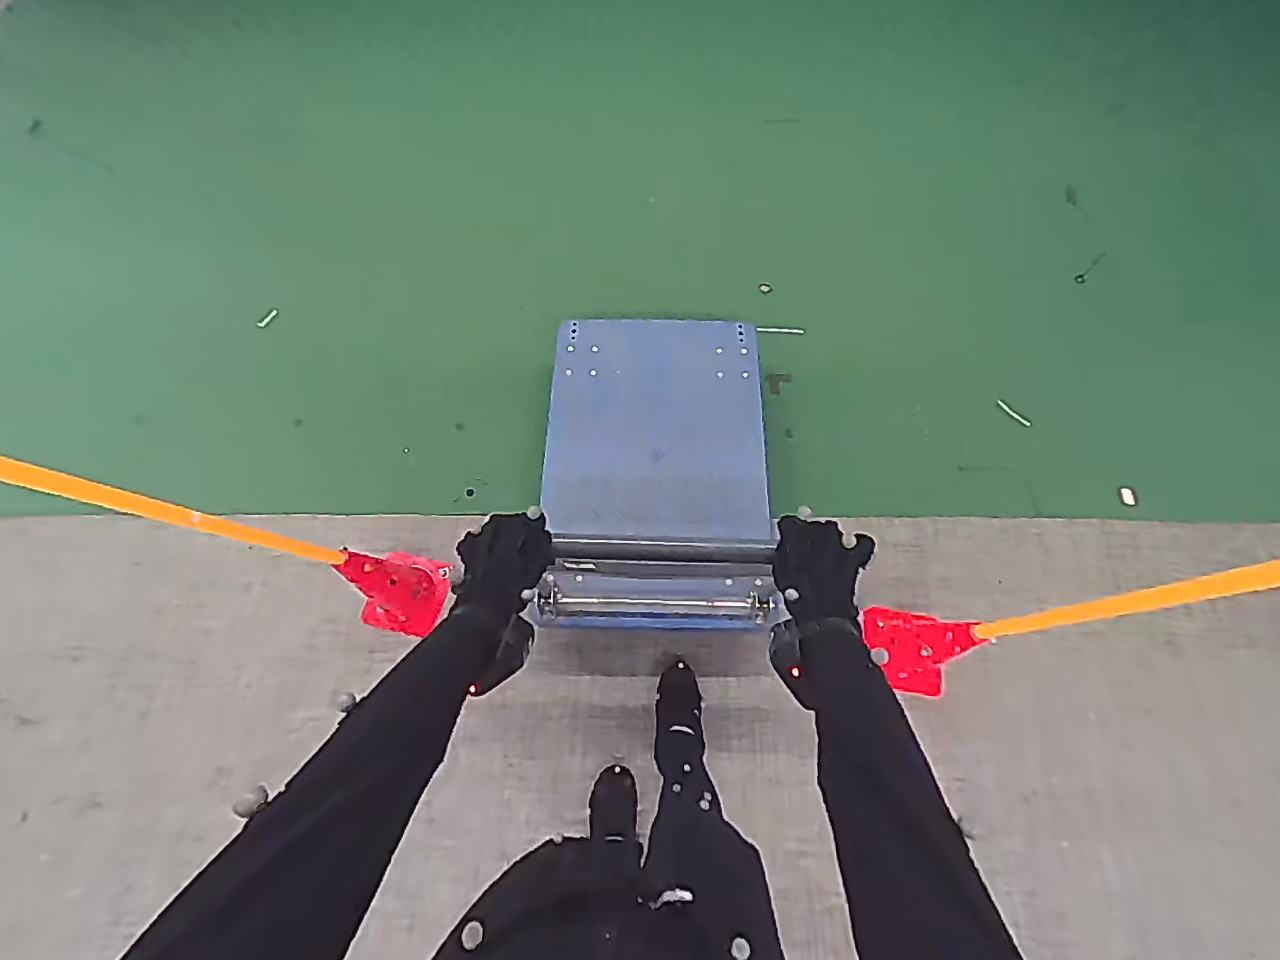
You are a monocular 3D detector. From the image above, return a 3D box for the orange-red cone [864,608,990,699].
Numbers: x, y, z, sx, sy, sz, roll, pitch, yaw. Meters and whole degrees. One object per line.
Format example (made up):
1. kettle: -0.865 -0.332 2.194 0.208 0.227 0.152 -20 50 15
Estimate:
1. orange-red cone: 0.665 0.368 1.206 0.198 0.360 0.199 10 68 6
